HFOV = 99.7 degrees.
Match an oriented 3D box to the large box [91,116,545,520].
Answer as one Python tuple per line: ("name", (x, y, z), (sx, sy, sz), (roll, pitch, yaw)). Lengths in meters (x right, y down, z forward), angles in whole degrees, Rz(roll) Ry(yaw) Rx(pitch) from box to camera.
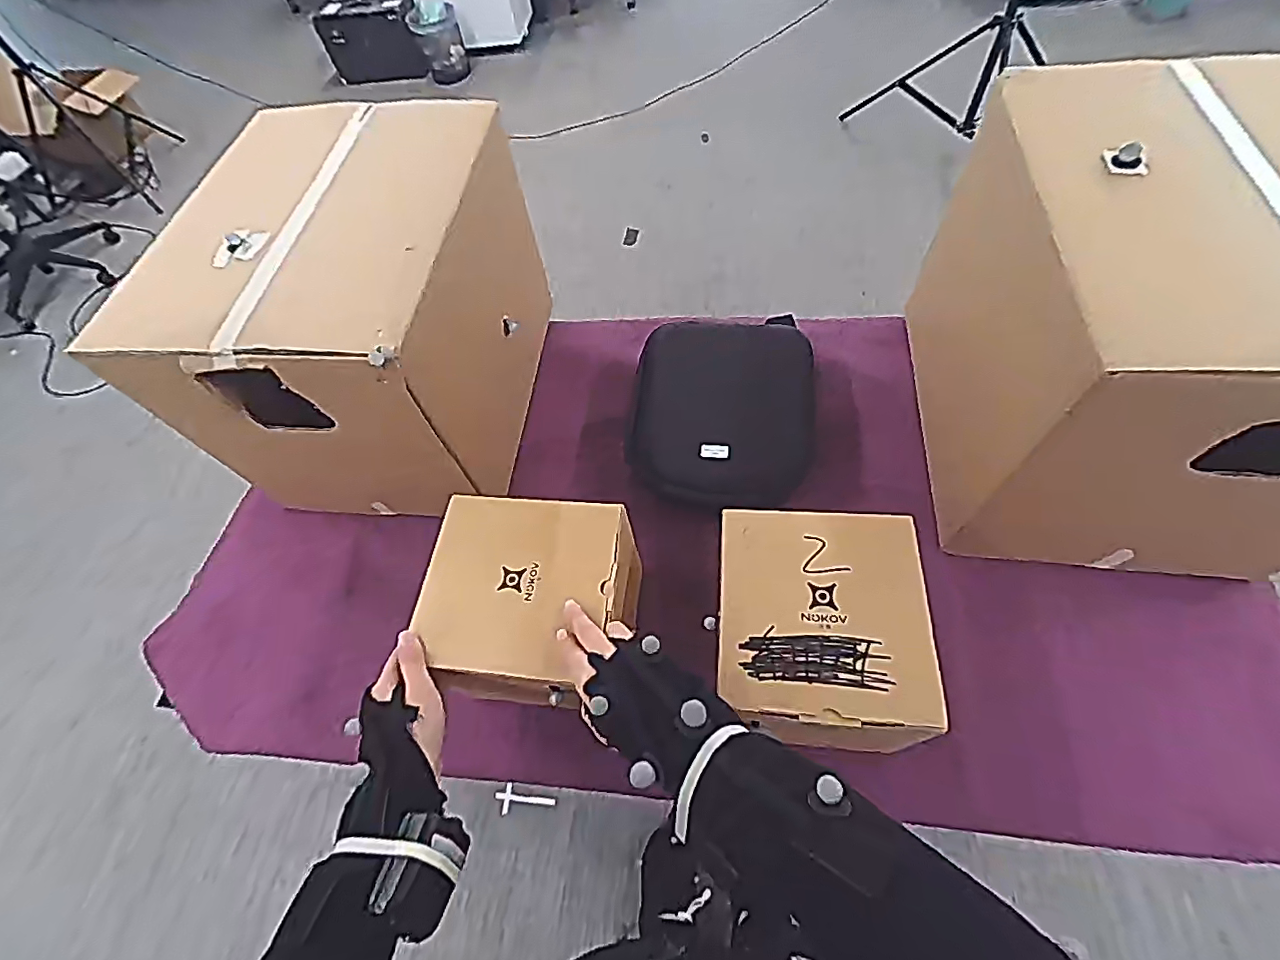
("large box", (-0.325, -0.195, 0.698), (0.320, 0.320, 0.408), (1, 62, 6))
